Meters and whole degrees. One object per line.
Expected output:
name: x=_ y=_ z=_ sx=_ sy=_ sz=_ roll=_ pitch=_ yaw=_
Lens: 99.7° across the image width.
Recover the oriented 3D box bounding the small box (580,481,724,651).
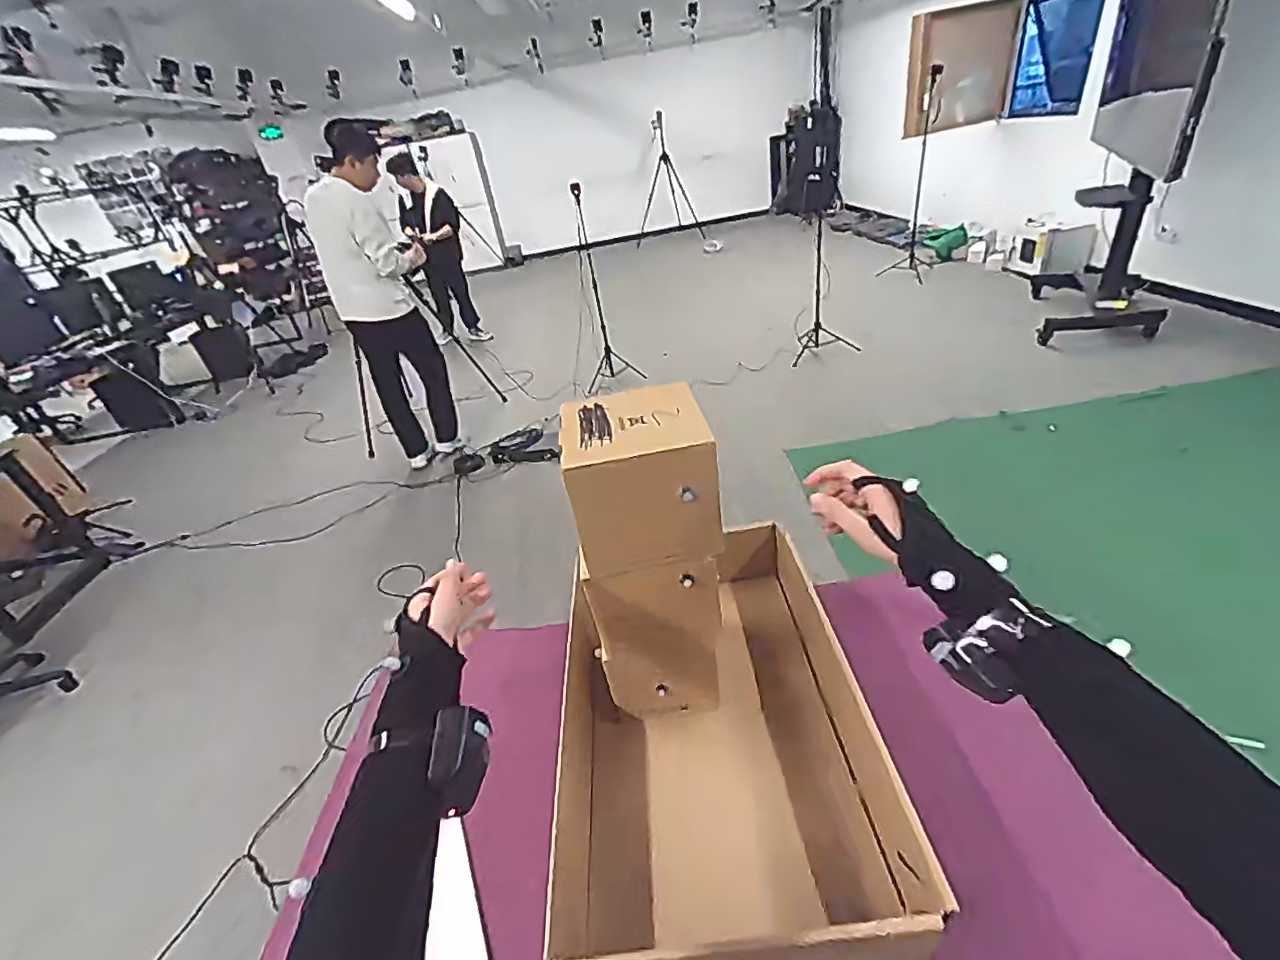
small box: x=0.017 y=0.127 z=0.791 sx=0.179 sy=0.176 sz=0.168 roll=-10 pitch=35 yaw=1

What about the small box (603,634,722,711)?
small box: x=0.037 y=0.257 z=0.885 sx=0.168 sy=0.176 sz=0.179 roll=-9 pitch=35 yaw=3
